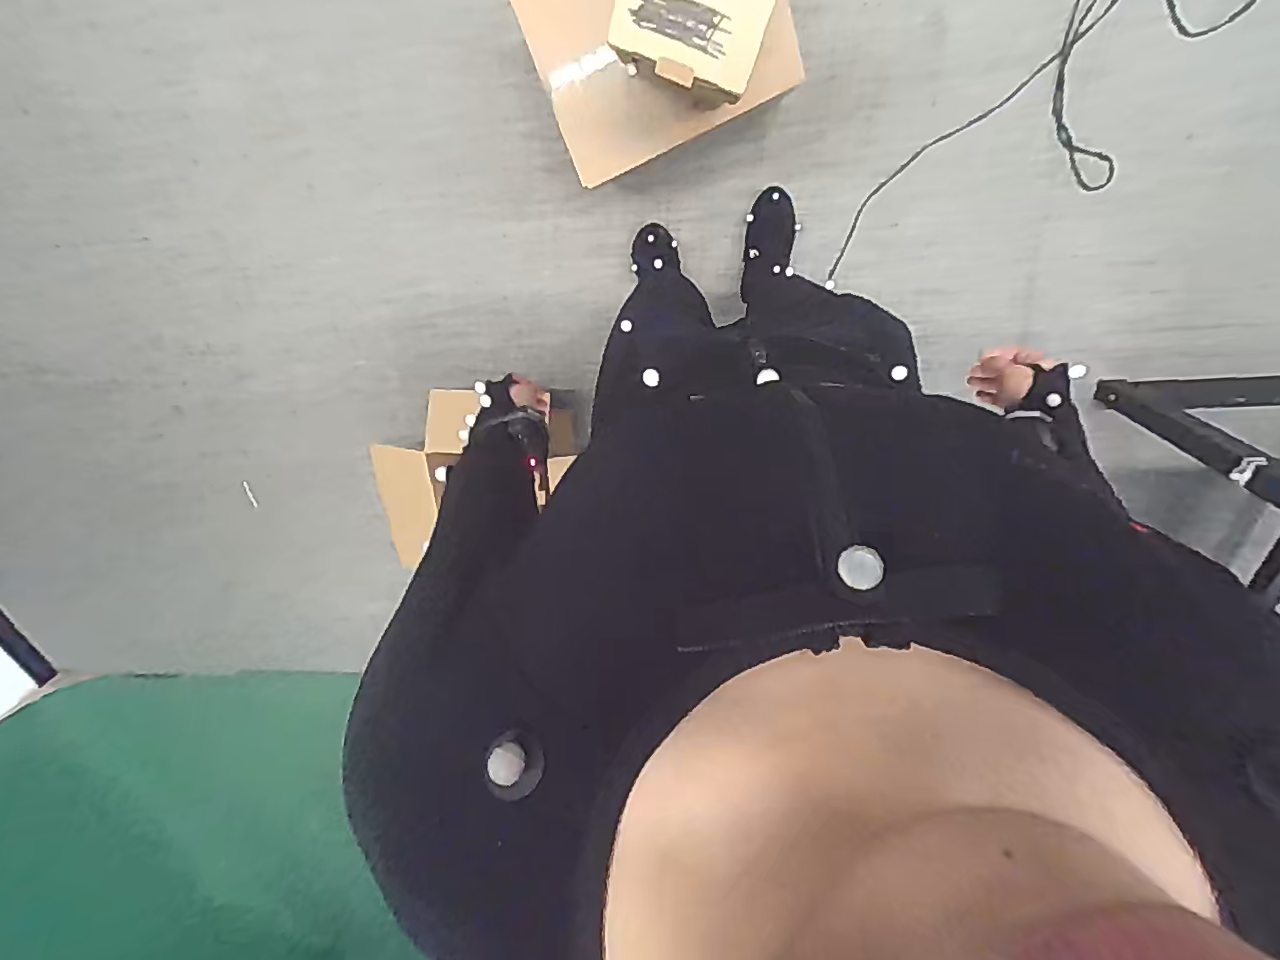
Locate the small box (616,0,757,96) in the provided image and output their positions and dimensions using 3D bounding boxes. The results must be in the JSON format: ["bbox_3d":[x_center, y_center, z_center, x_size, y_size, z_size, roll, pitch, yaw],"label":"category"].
[{"bbox_3d":[0.077,-0.676,0.772,0.168,0.176,0.179,18,123,-5],"label":"small box"}]
